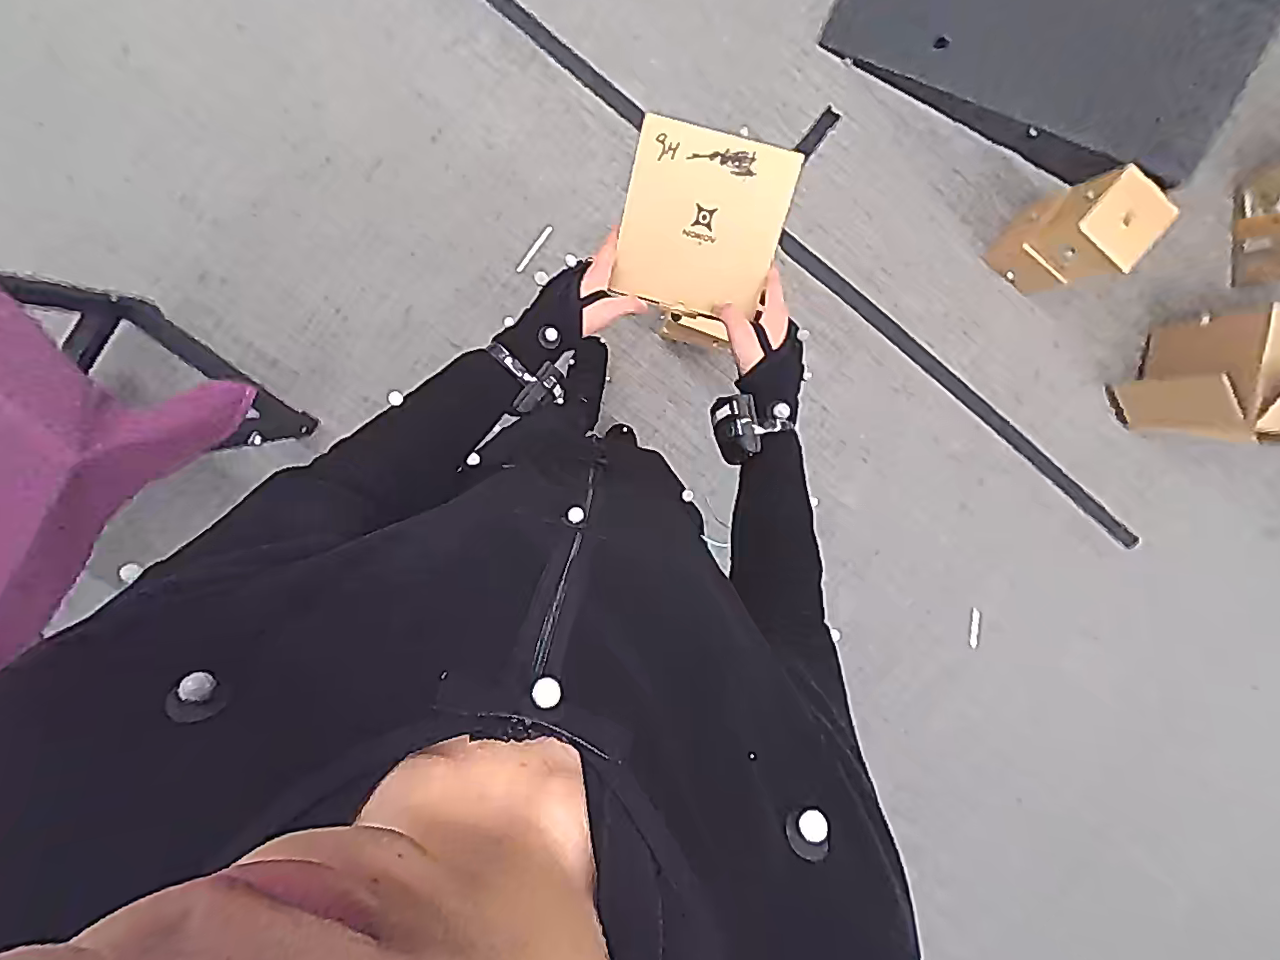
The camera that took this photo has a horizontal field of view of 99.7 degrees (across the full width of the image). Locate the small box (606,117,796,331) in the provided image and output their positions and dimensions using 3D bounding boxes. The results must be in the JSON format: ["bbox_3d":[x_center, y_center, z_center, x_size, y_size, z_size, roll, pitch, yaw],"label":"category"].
[{"bbox_3d":[0.067,-0.292,0.646,0.168,0.176,0.179,15,110,-1],"label":"small box"}]
